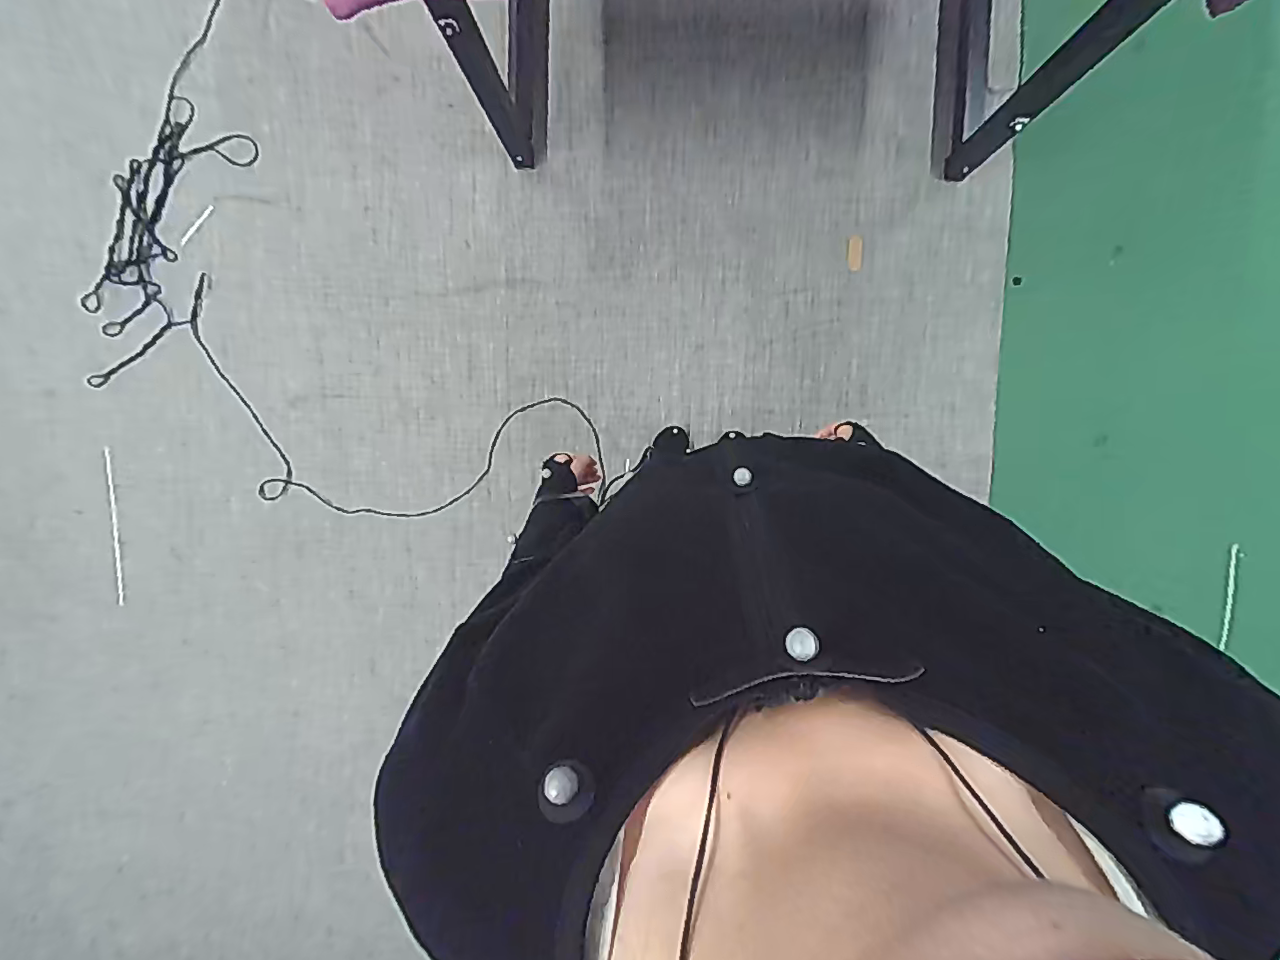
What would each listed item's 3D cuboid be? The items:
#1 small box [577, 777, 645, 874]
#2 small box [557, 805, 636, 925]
[{"bbox_3d":[-0.079,0.937,1.471,0.179,0.176,0.168,-7,93,4],"label":"small box"},{"bbox_3d":[-0.098,0.925,1.308,0.168,0.176,0.179,-3,94,3],"label":"small box"}]
